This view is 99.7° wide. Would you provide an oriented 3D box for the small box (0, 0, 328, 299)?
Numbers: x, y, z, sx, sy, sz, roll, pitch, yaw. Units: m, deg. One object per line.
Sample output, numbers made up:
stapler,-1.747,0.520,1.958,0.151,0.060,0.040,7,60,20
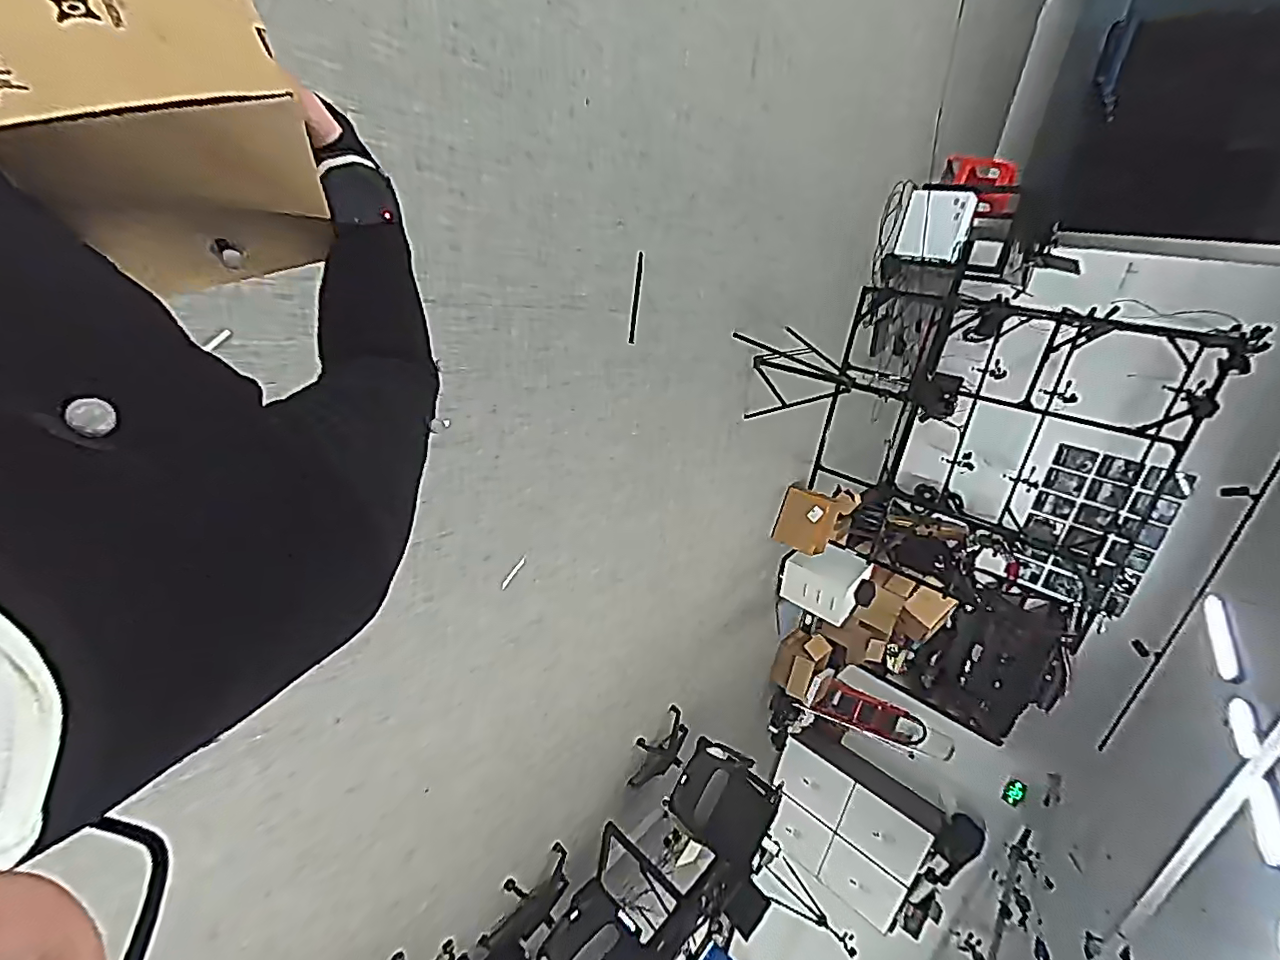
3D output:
small box,-0.379,-0.279,0.436,0.179,0.168,0.176,-27,172,-24
